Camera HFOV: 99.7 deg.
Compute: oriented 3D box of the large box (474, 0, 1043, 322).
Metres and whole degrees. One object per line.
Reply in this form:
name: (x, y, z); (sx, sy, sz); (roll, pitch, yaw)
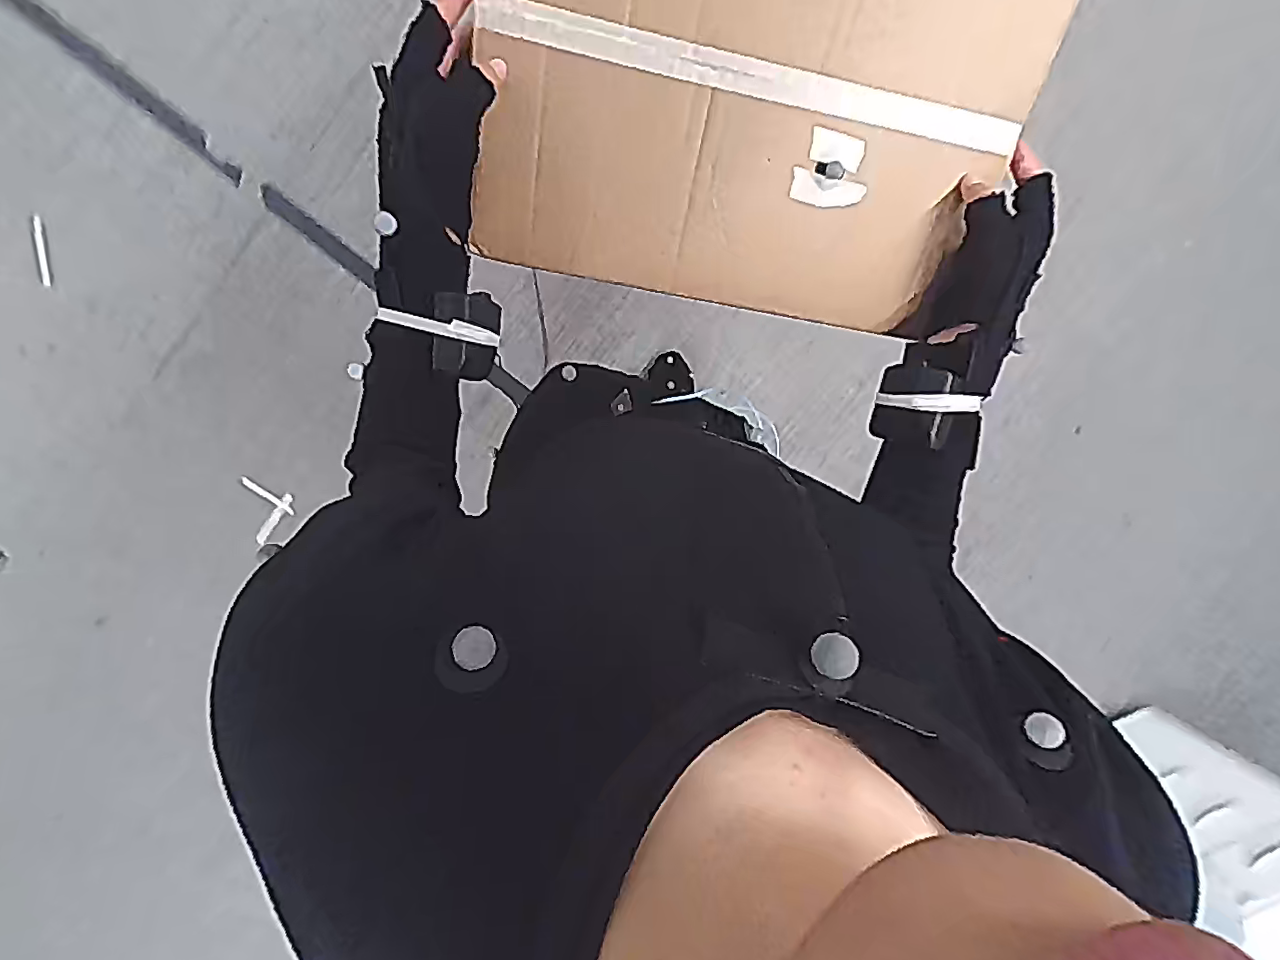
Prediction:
large box: (0.069, -0.369, 0.529); (0.408, 0.320, 0.320); (6, 120, -8)
